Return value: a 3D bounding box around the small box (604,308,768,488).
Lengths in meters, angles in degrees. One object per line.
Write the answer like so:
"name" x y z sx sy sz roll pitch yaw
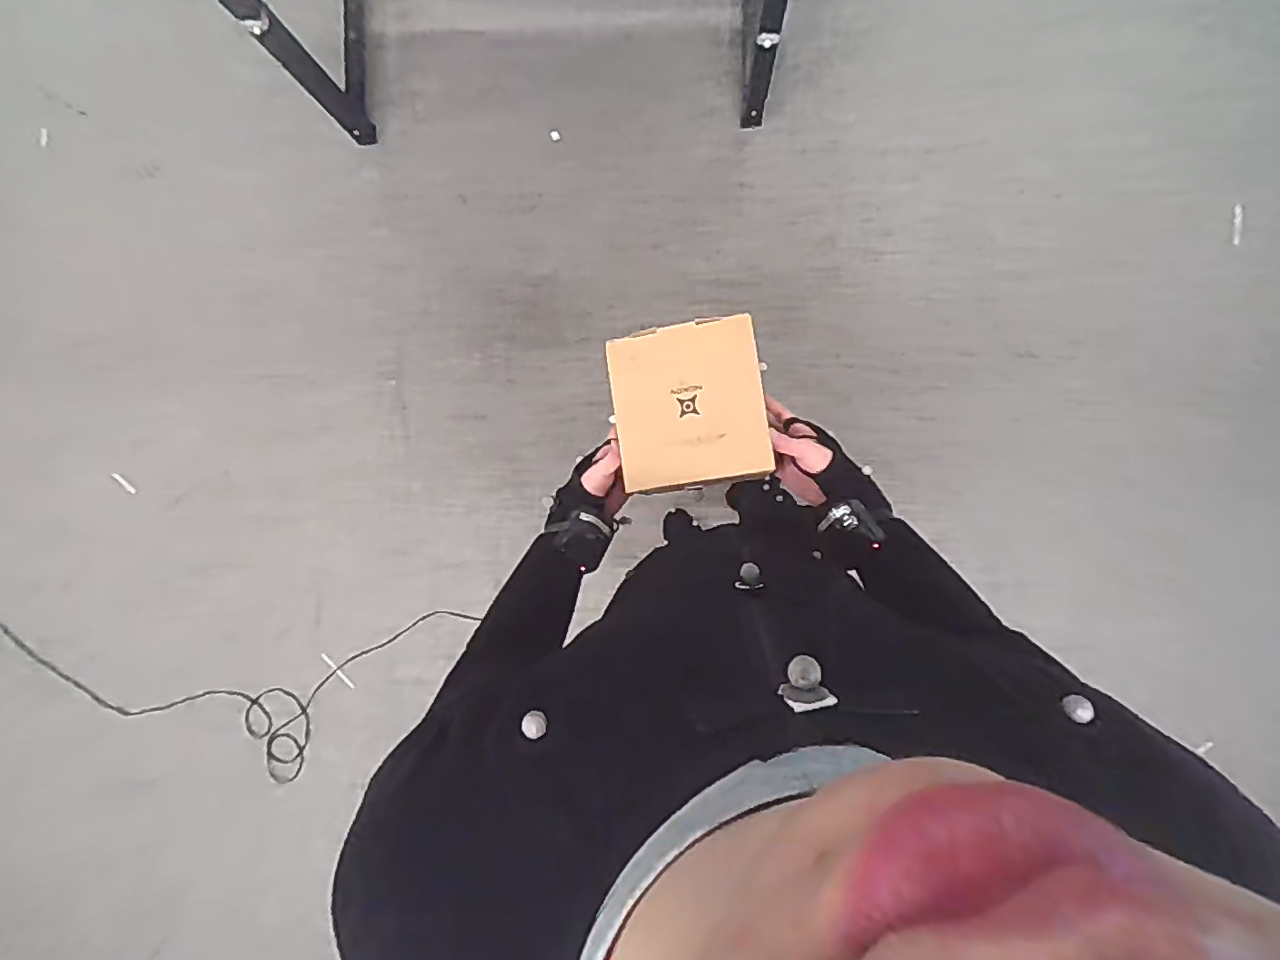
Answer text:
"small box" 0.059 -0.088 0.673 0.168 0.176 0.179 -8 86 9
